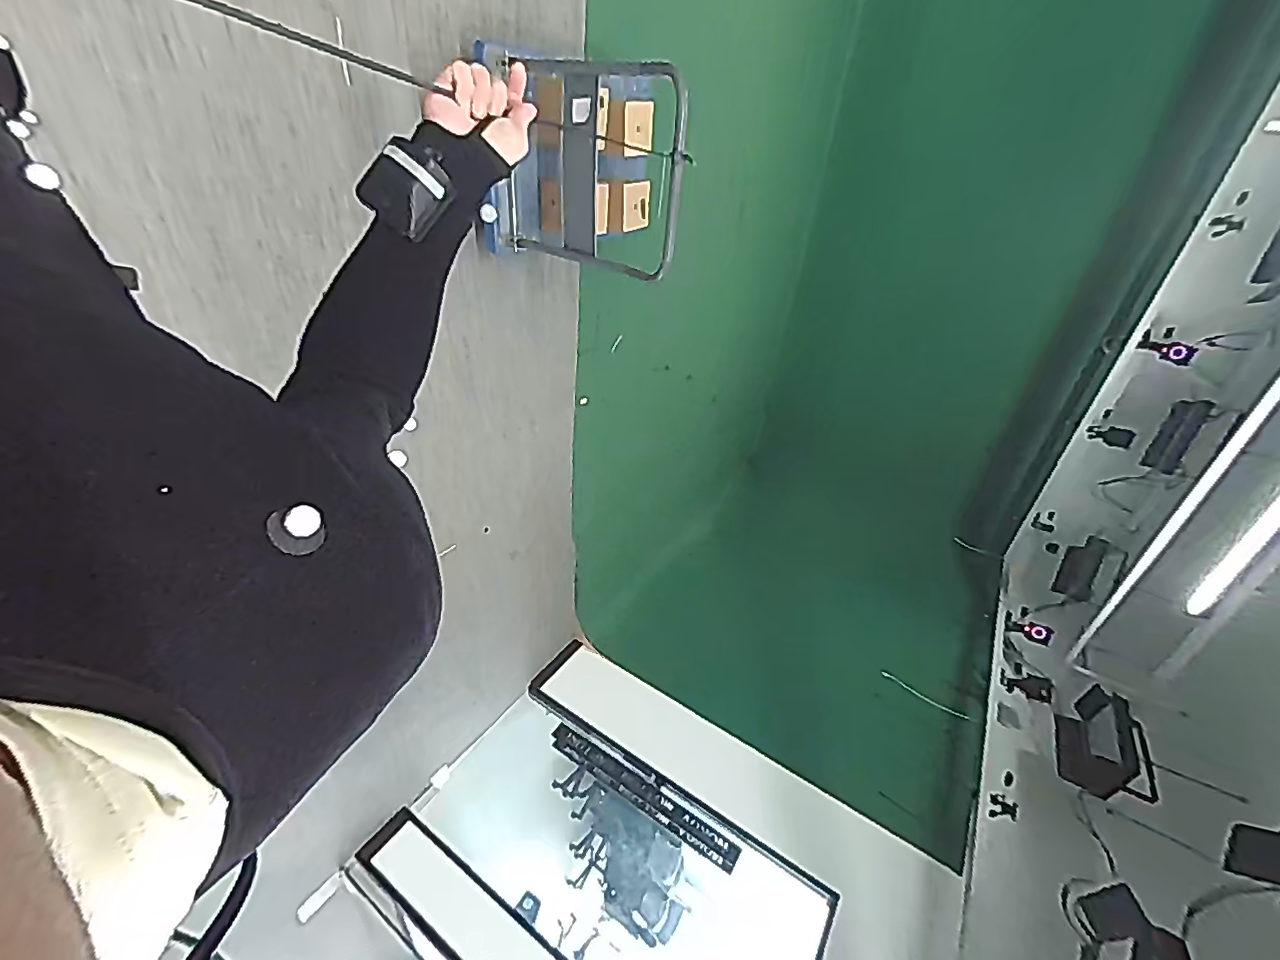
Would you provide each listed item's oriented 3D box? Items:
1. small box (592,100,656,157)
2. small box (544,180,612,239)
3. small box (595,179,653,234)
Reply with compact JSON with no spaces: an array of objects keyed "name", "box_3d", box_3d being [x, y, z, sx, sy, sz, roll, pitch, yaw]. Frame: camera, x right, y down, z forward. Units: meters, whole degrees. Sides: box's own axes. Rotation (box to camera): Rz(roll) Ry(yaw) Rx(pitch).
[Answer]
[{"name":"small box","box_3d":[-0.063,-1.280,1.970,0.179,0.176,0.168,-39,143,-43]},{"name":"small box","box_3d":[-0.223,-0.966,1.924,0.179,0.176,0.168,-34,139,-46]},{"name":"small box","box_3d":[-0.070,-1.076,2.117,0.179,0.176,0.168,-38,141,-42]}]
